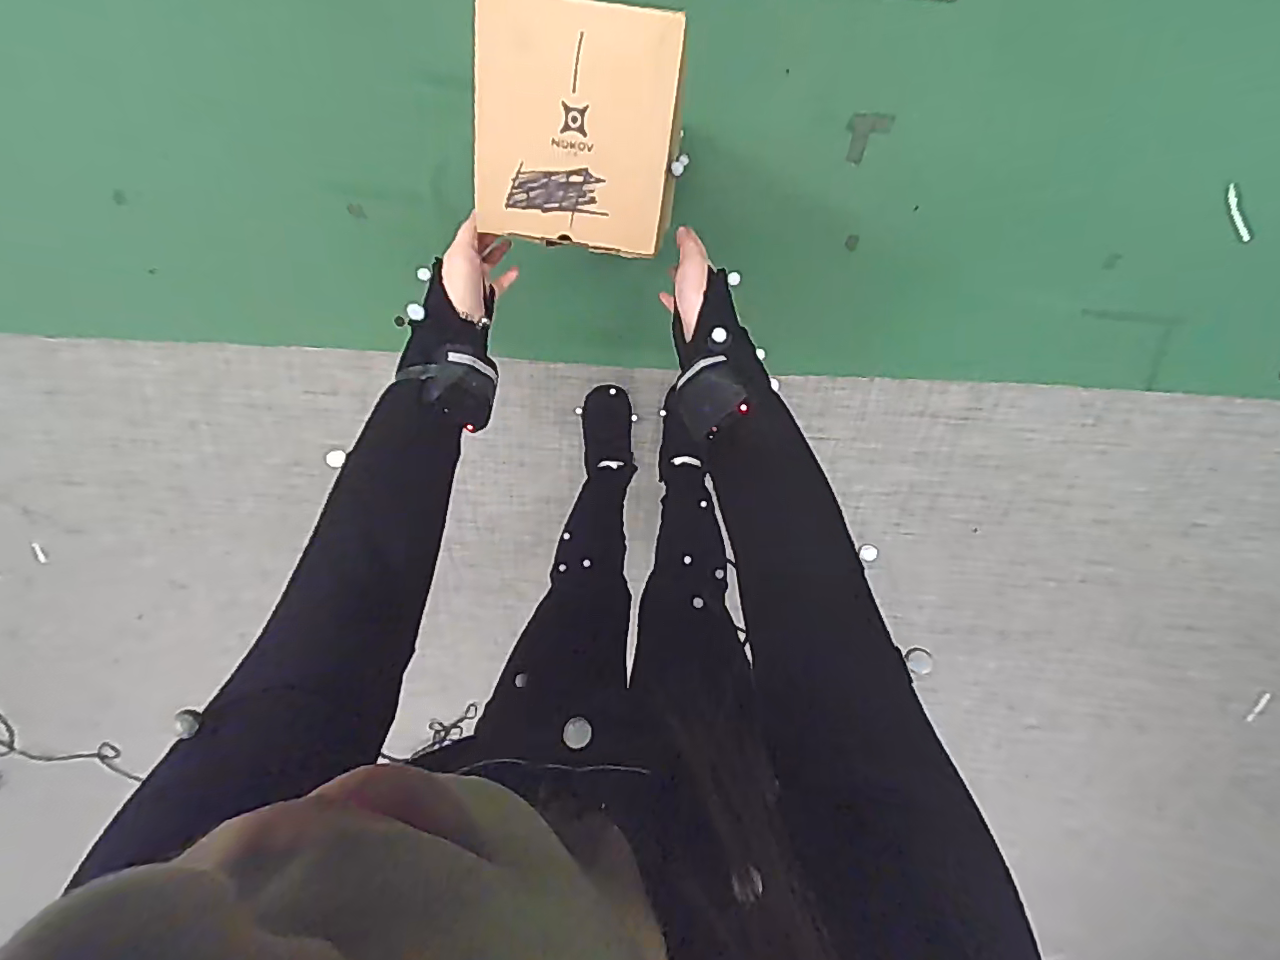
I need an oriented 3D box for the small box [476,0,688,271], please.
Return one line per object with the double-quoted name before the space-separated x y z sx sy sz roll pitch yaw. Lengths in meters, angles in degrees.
"small box" -0.049 -0.313 0.521 0.168 0.176 0.179 9 116 0
